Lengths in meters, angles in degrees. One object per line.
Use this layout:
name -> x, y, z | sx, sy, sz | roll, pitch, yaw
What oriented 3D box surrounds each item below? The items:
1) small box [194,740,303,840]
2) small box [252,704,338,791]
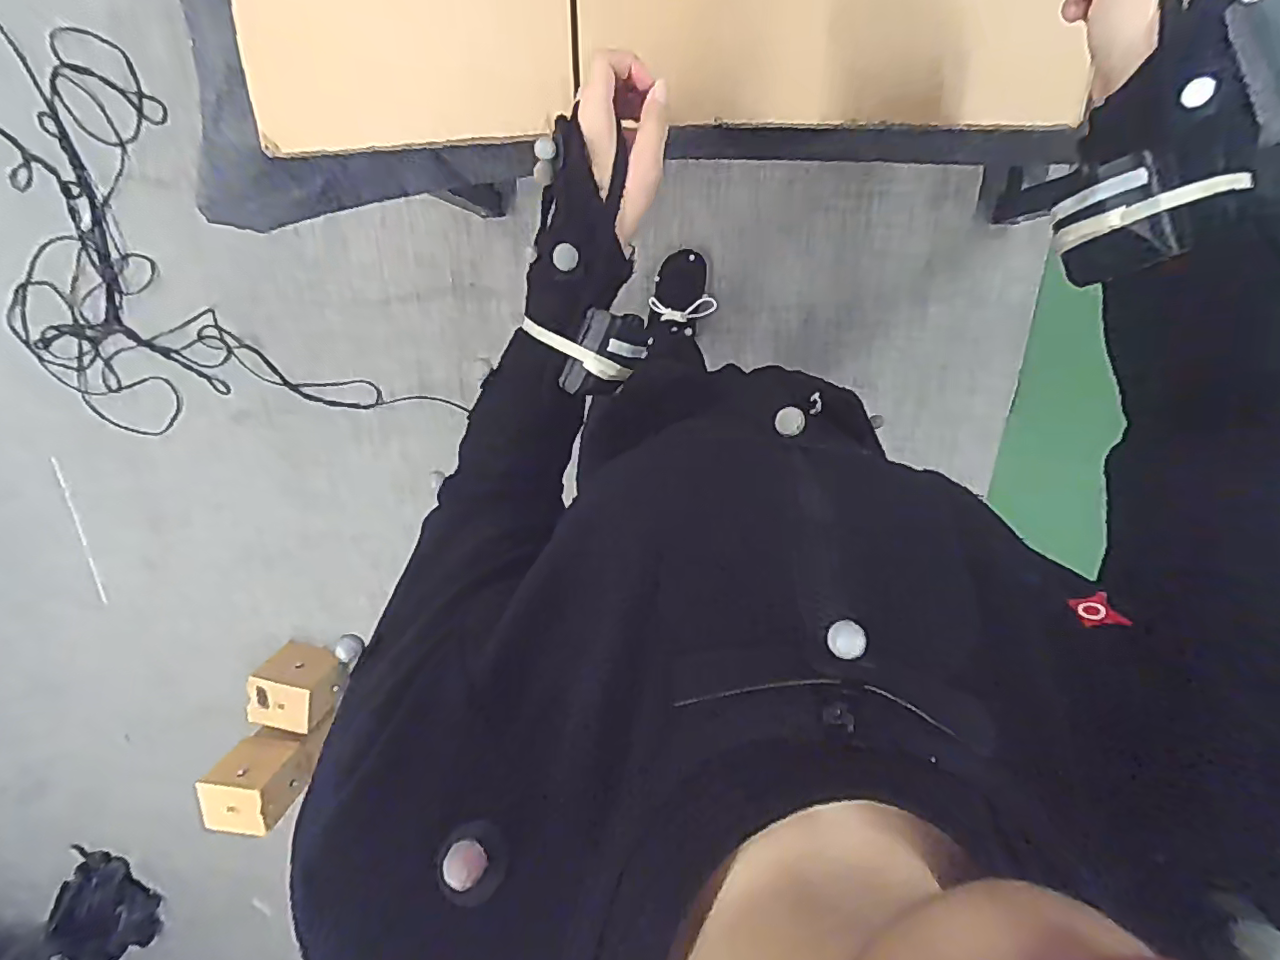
small box -> -1.079, 0.853, 1.502 | 0.179, 0.176, 0.168 | 6, 108, 2
small box -> -1.054, 0.815, 1.660 | 0.179, 0.176, 0.168 | 6, 109, 2
